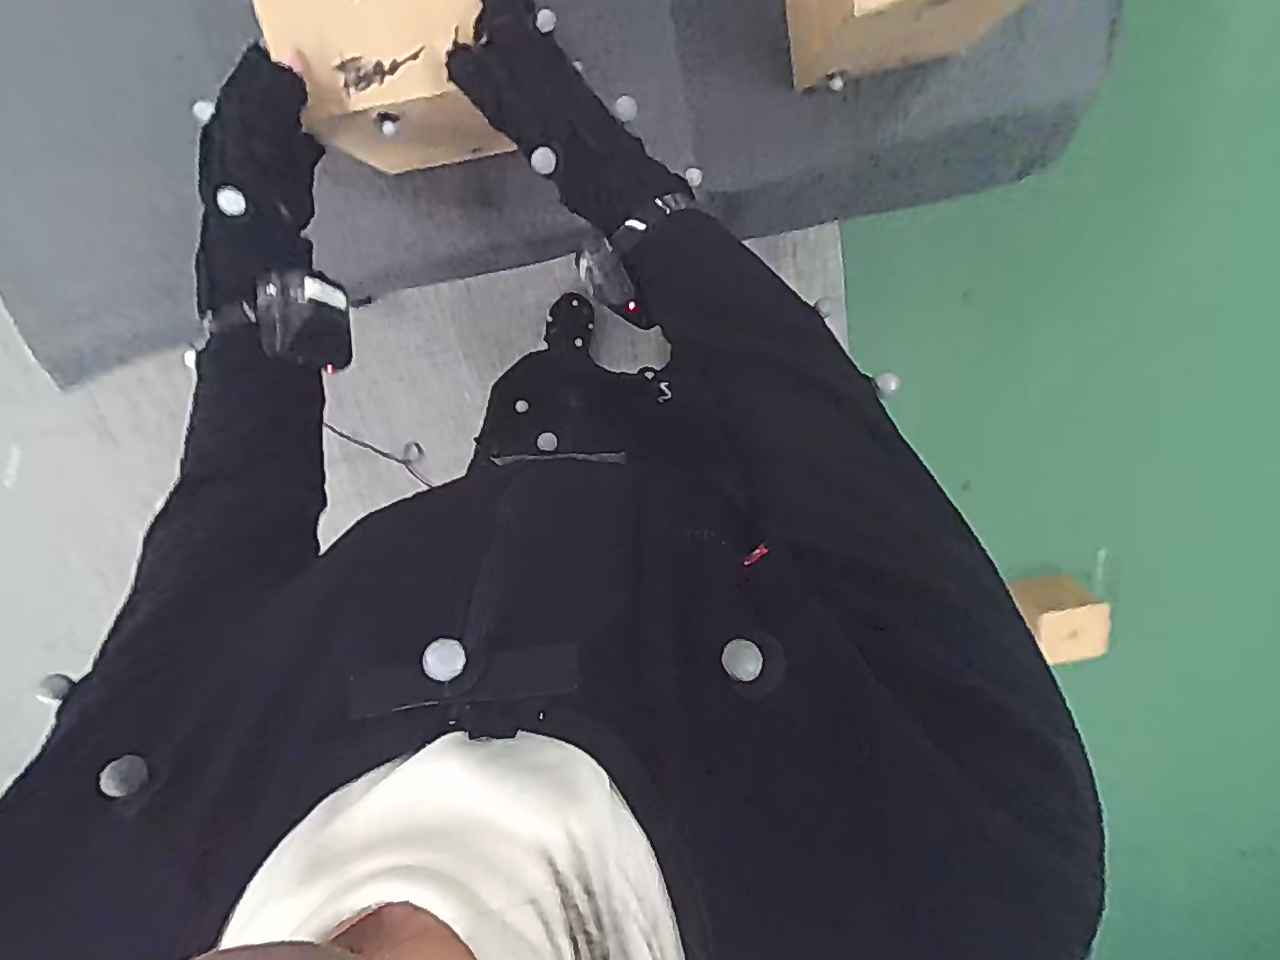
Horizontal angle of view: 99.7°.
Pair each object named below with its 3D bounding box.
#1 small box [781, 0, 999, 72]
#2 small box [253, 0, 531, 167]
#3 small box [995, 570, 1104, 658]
[{"bbox_3d":[0.212,-0.465,0.434,0.168,0.176,0.179,-11,109,4],"label":"small box"},{"bbox_3d":[-0.199,-0.391,0.455,0.168,0.176,0.179,-9,108,2],"label":"small box"},{"bbox_3d":[1.138,0.367,1.513,0.179,0.176,0.168,-10,108,3],"label":"small box"}]
